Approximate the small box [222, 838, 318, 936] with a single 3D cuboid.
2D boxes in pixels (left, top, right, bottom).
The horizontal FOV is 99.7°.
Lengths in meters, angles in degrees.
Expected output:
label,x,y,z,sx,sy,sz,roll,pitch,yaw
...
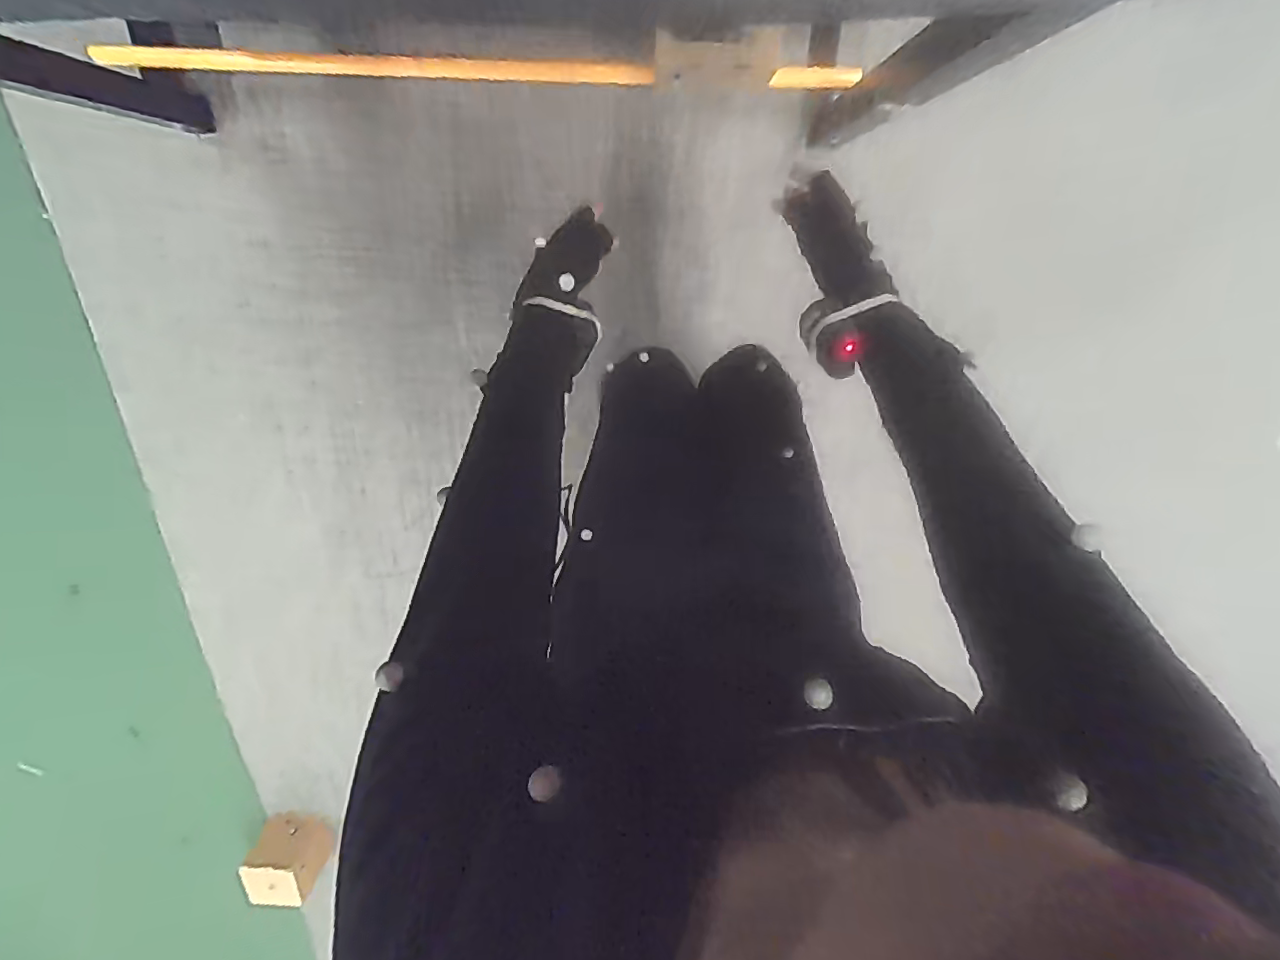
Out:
label,x,y,z,sx,sy,sz,roll,pitch,yaw
small box,-1.110,1.230,1.639,0.168,0.176,0.179,4,111,-1
